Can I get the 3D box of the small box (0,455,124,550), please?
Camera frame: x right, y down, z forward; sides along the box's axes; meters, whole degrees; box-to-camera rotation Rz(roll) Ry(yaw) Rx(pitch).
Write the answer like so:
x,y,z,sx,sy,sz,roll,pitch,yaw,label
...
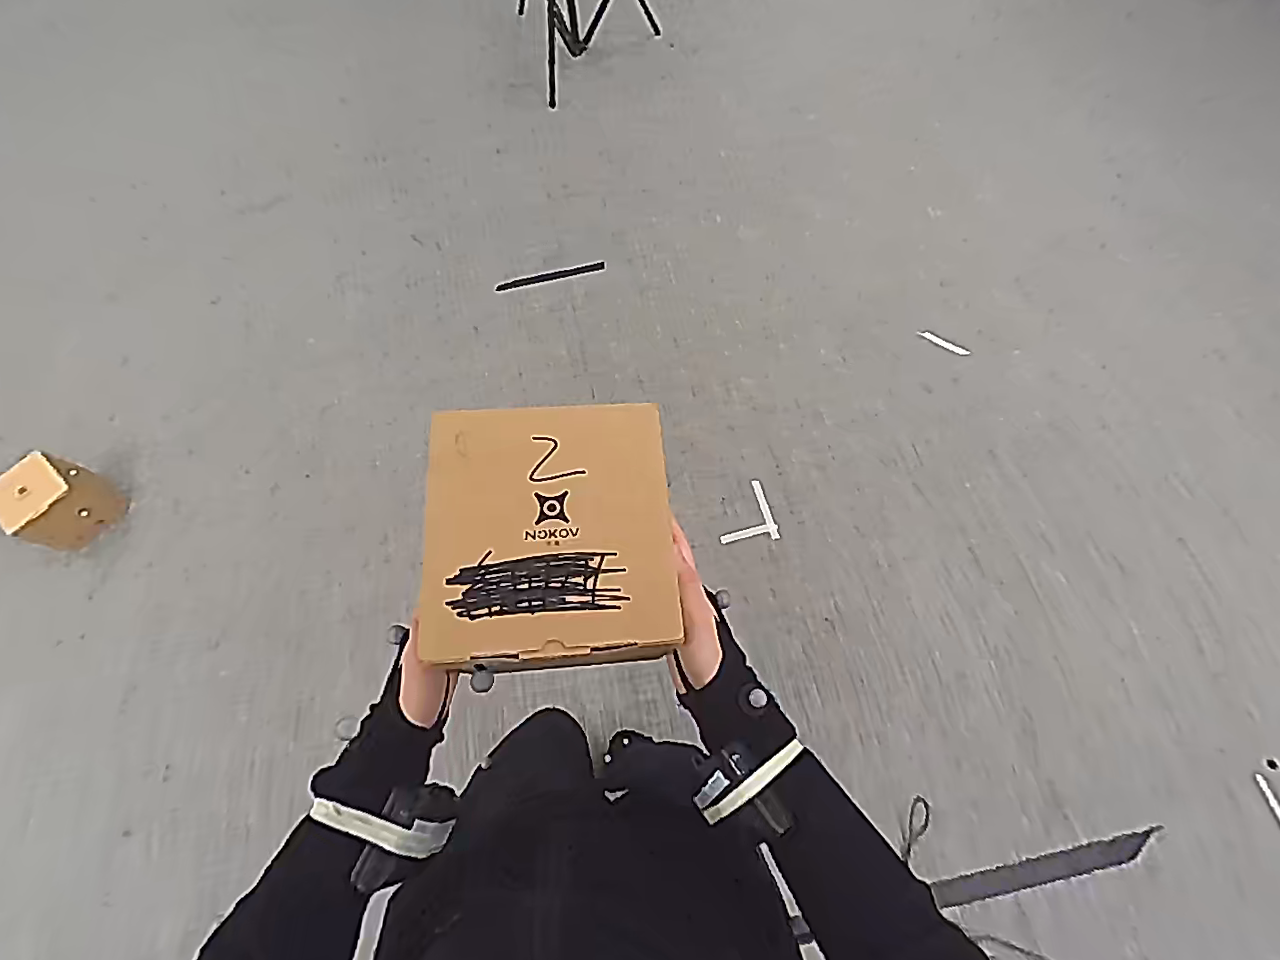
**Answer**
x,y,z,sx,sy,sz,roll,pitch,yaw,label
-1.558,0.068,1.447,0.179,0.176,0.168,37,73,15,small box
